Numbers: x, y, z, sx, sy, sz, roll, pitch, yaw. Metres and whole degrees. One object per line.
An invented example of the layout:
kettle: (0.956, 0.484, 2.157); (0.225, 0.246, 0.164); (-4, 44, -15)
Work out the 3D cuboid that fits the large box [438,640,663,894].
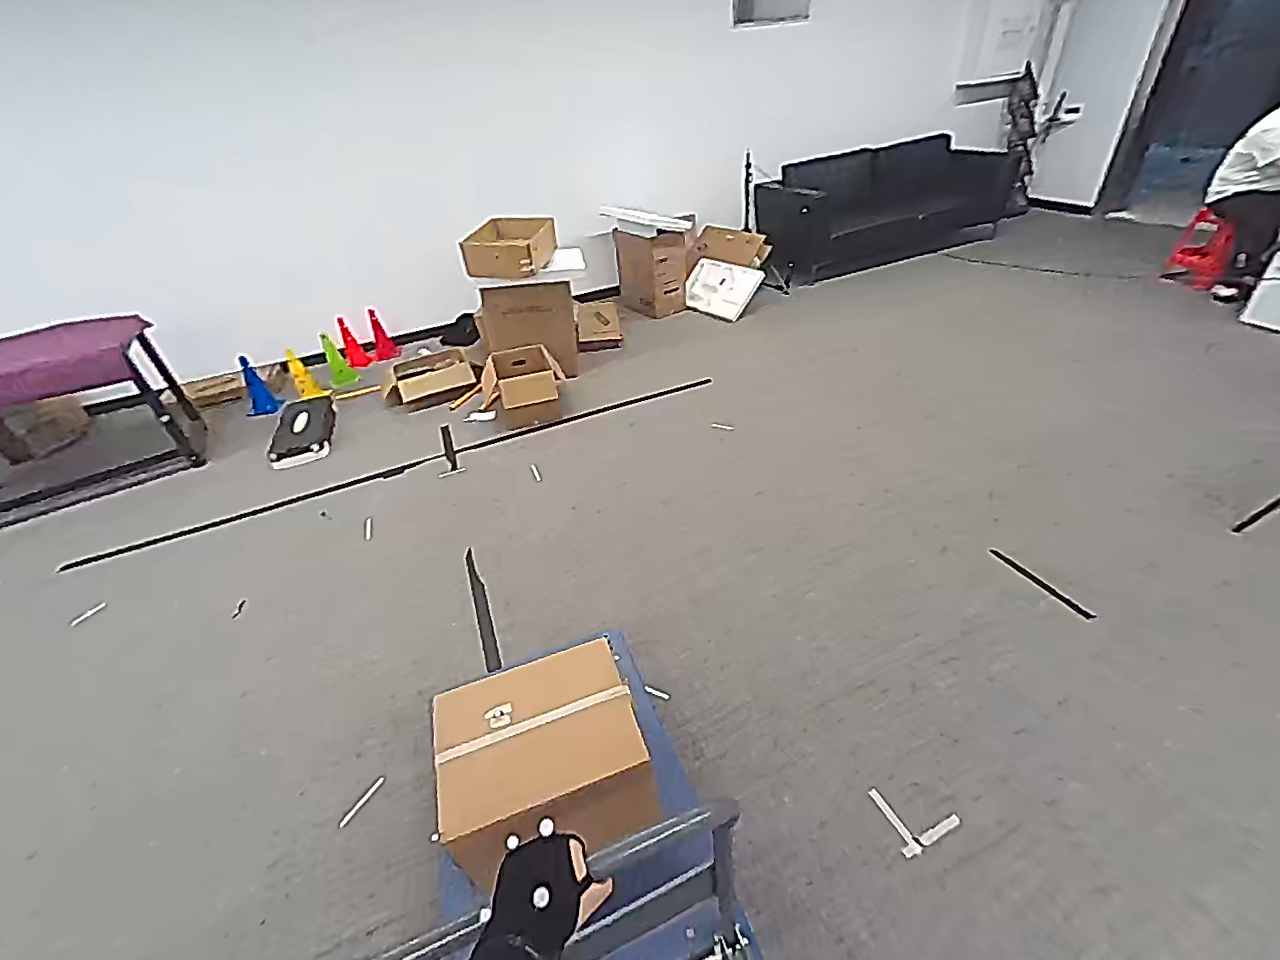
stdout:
large box: (-0.198, 0.637, 1.223); (0.408, 0.320, 0.320); (-18, 37, -11)
